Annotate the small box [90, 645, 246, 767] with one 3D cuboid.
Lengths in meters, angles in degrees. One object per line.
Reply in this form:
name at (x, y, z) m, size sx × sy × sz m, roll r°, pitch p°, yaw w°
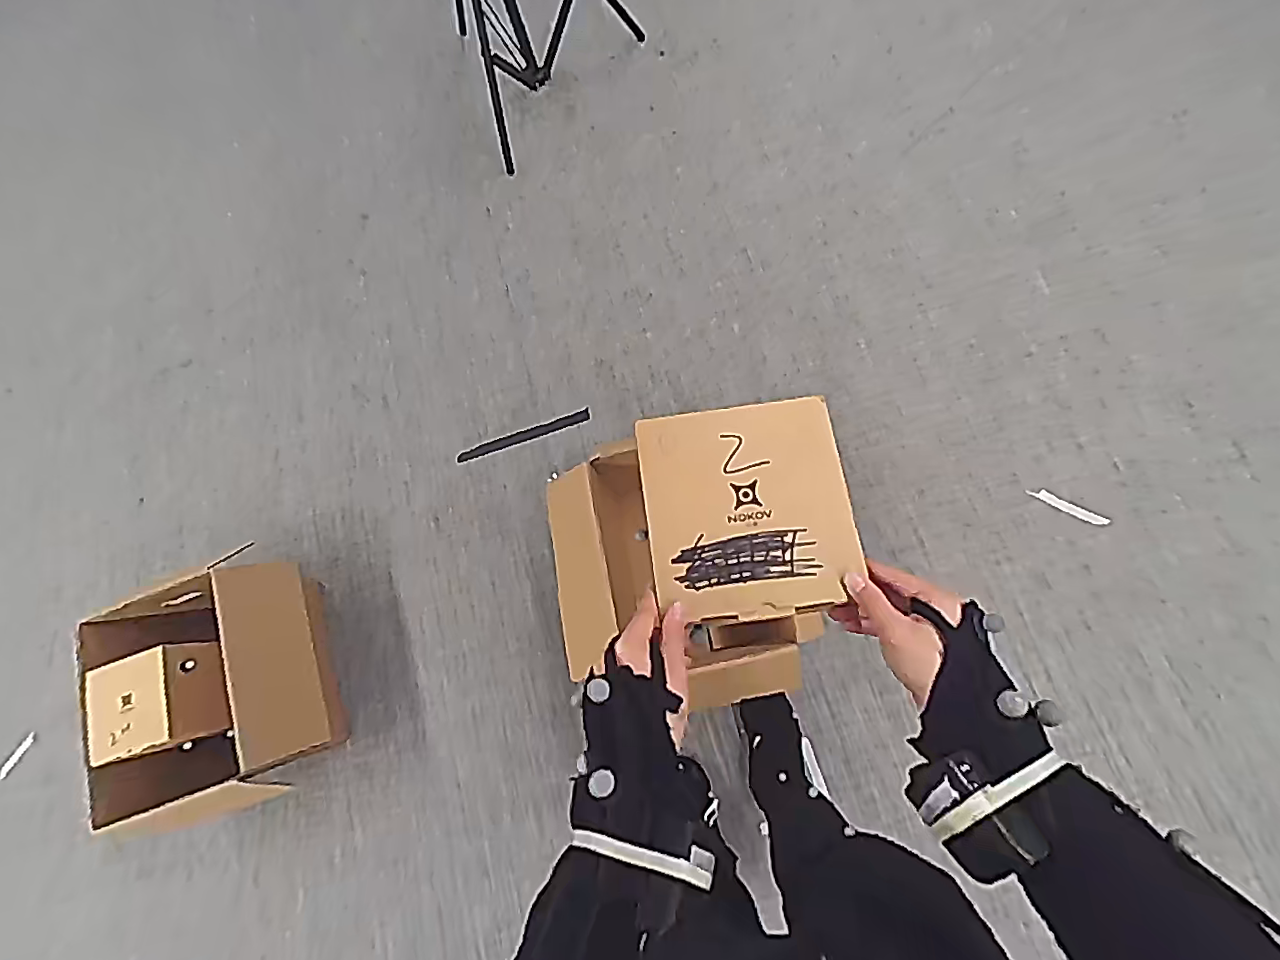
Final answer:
small box at (-0.931, 0.437, 1.078) m, size 0.168 × 0.176 × 0.179 m, roll -20°, pitch 75°, yaw 4°
